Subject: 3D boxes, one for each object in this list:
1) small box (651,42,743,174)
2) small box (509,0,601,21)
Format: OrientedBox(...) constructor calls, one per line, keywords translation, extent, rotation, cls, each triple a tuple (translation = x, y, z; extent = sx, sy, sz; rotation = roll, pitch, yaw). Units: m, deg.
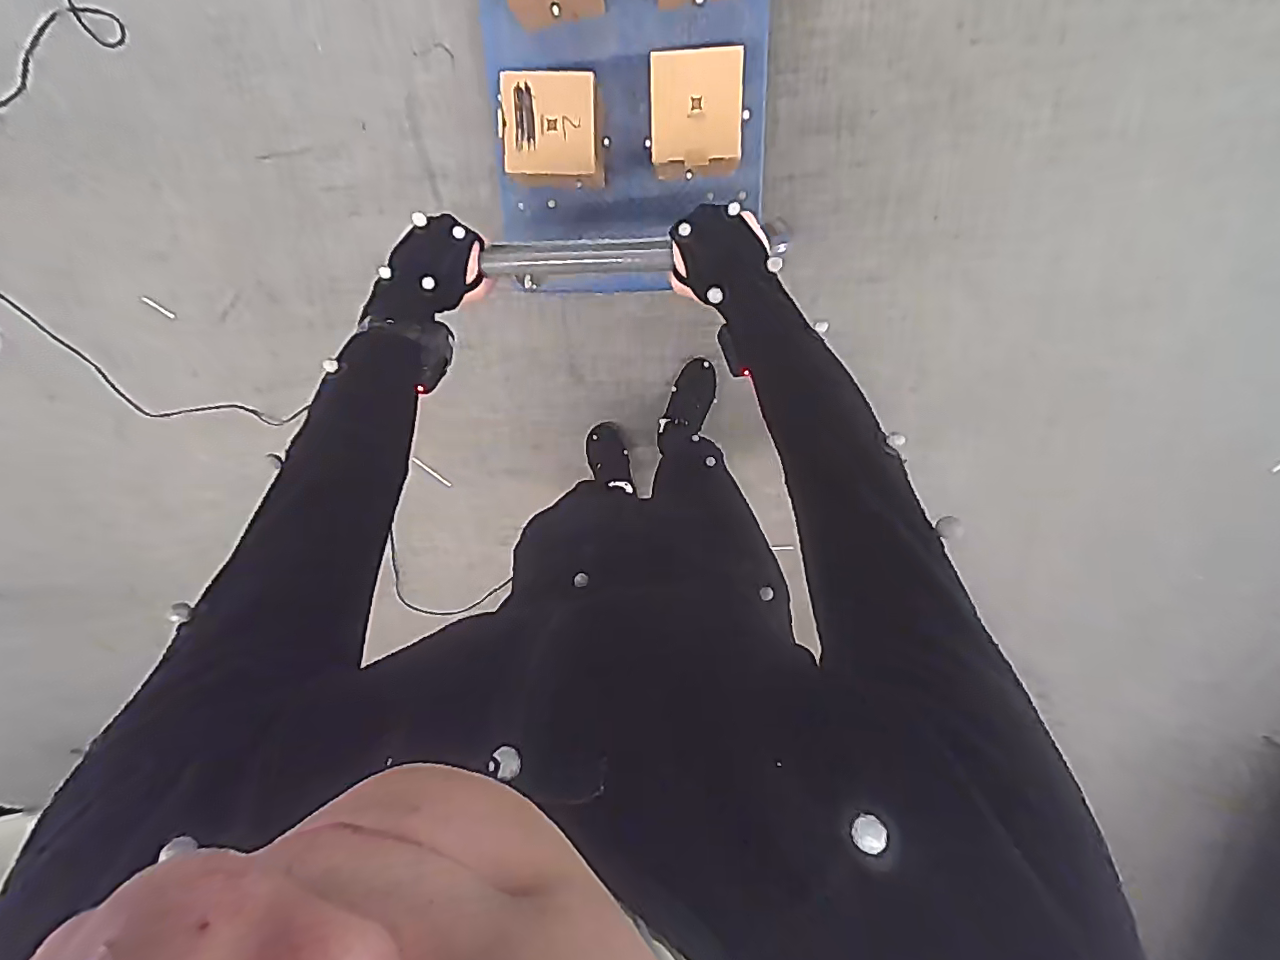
OrientedBox(translation=(0.106, -0.712, 1.053), extent=(0.168, 0.176, 0.179), rotation=(-1, 112, 5), cls="small box")
OrientedBox(translation=(-0.170, -0.969, 0.972), extent=(0.168, 0.176, 0.179), rotation=(-6, 110, 6), cls="small box")
